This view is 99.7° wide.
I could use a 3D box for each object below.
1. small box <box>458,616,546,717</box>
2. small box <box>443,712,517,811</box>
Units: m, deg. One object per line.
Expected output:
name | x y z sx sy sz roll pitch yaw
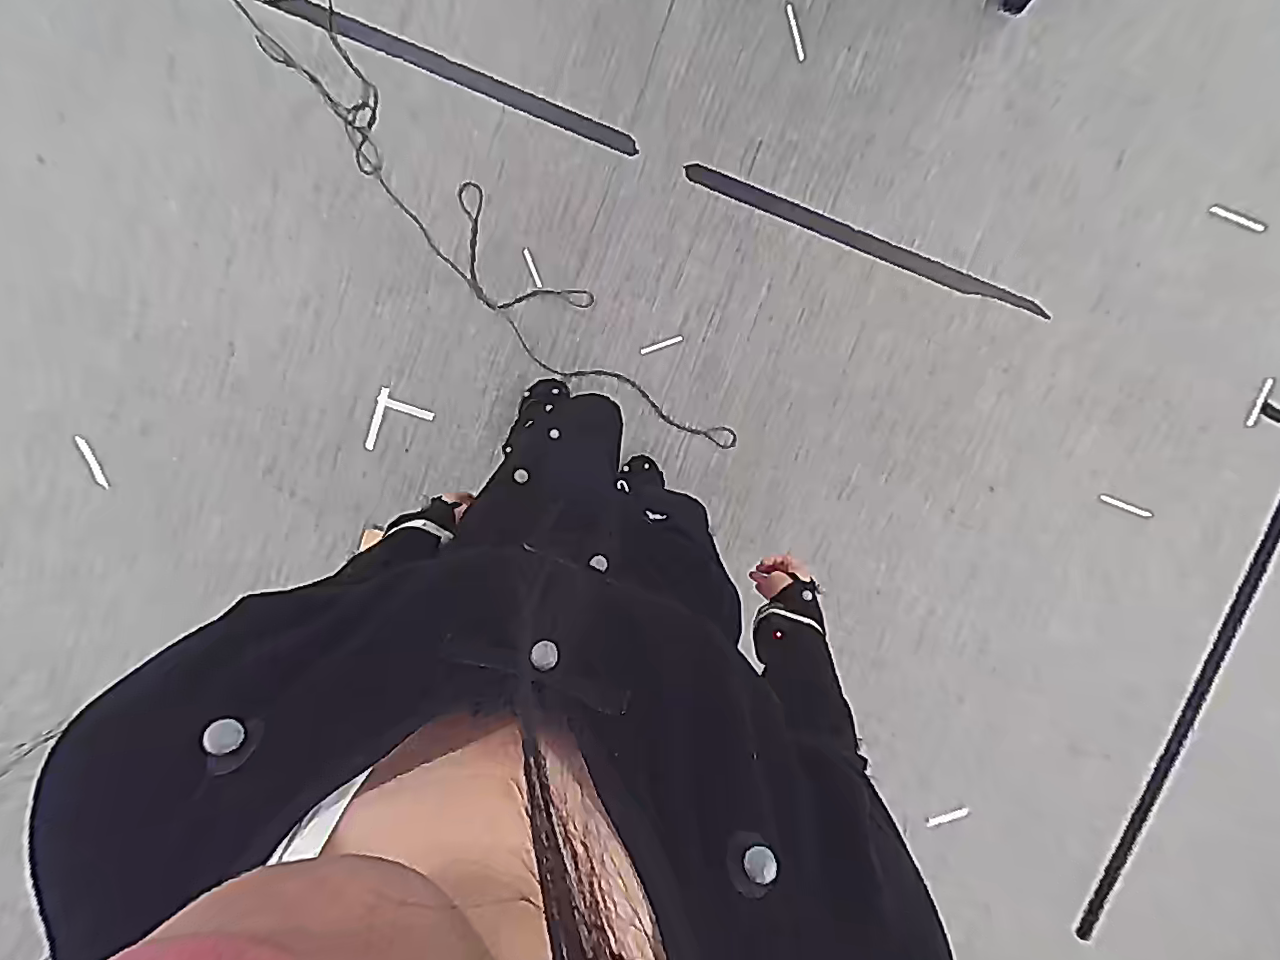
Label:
small box | -0.355 0.483 1.428 0.168 0.176 0.179 18 95 -2
small box | -0.437 0.752 1.449 0.168 0.176 0.179 14 94 -2
